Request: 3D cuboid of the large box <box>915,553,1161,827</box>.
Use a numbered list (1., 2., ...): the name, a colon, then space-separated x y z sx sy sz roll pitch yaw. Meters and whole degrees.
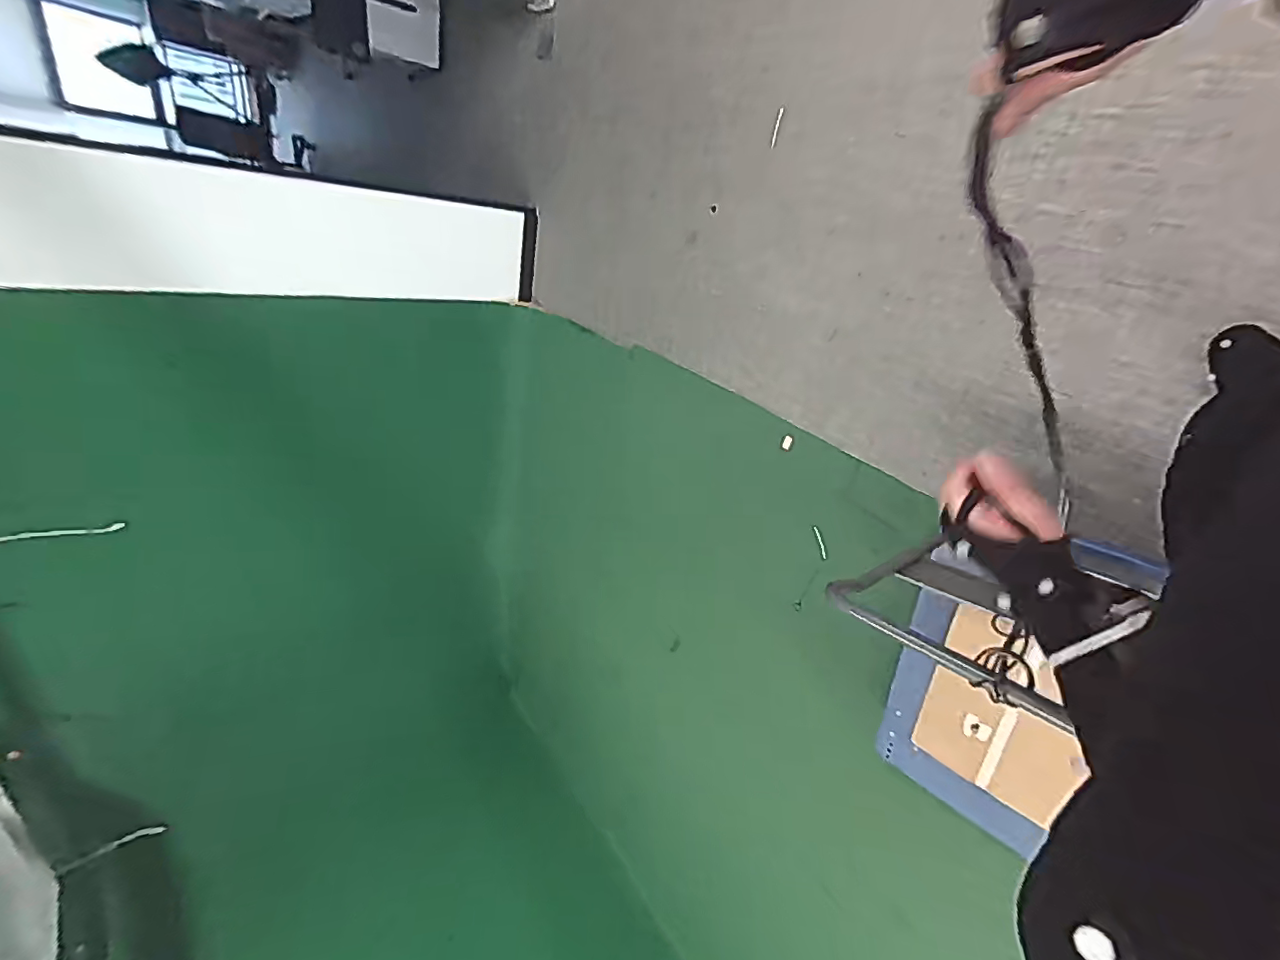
1. large box: 0.873 0.433 1.203 0.320 0.320 0.408 26 121 43
